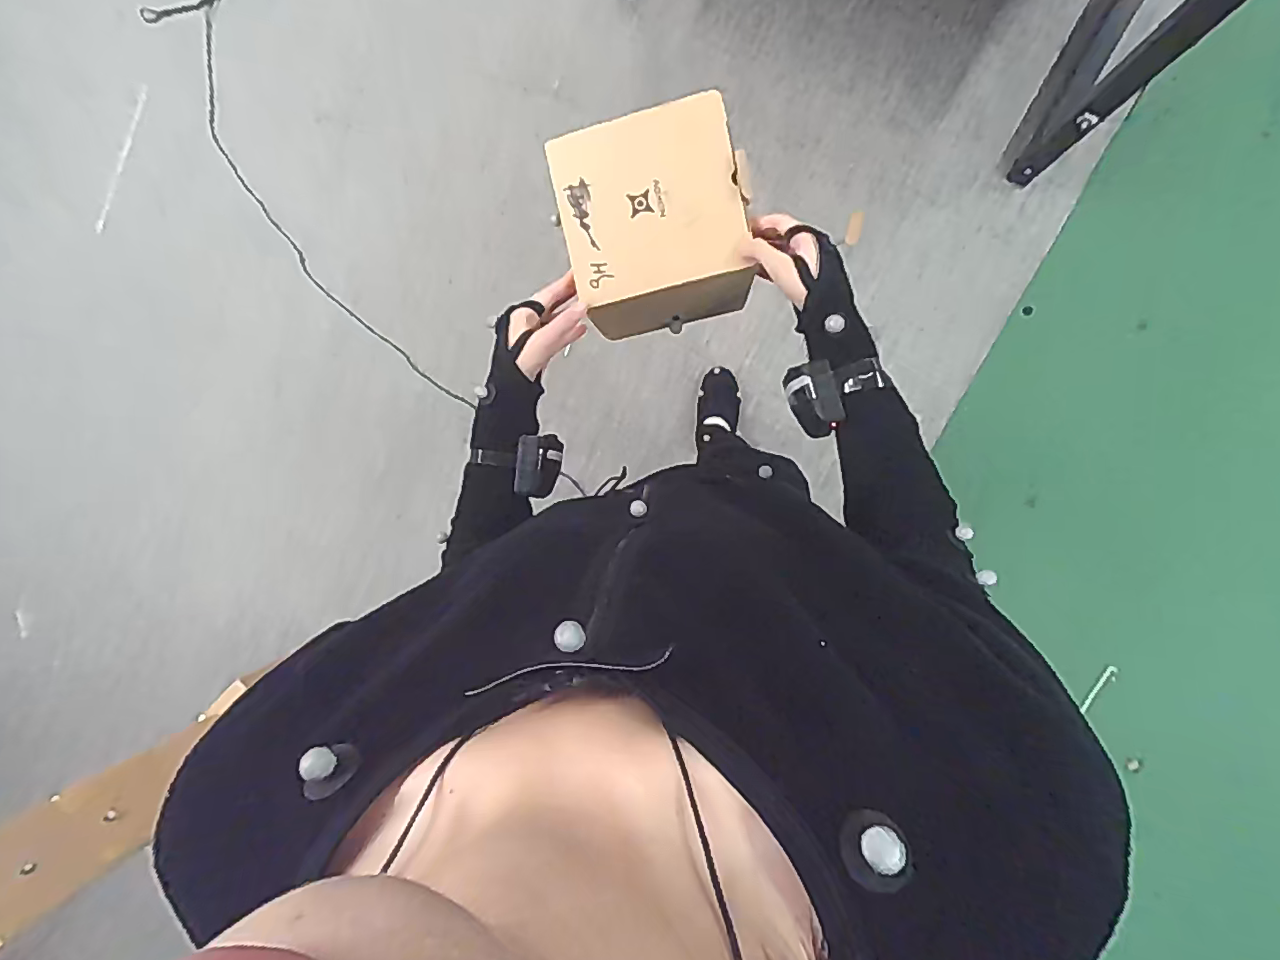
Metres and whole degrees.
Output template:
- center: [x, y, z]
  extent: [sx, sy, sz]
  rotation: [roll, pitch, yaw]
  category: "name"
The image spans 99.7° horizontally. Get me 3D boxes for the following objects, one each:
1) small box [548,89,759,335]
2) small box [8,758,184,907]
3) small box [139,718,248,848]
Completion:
- center: [0.018, -0.269, 0.587]
  extent: [0.179, 0.176, 0.168]
  rotation: [-12, 92, 6]
  category: "small box"
- center: [-1.136, 0.726, 1.143]
  extent: [0.168, 0.176, 0.179]
  rotation: [-42, 88, 9]
  category: "small box"
- center: [-1.106, 0.721, 1.302]
  extent: [0.179, 0.176, 0.168]
  rotation: [-44, 88, 9]
  category: "small box"
